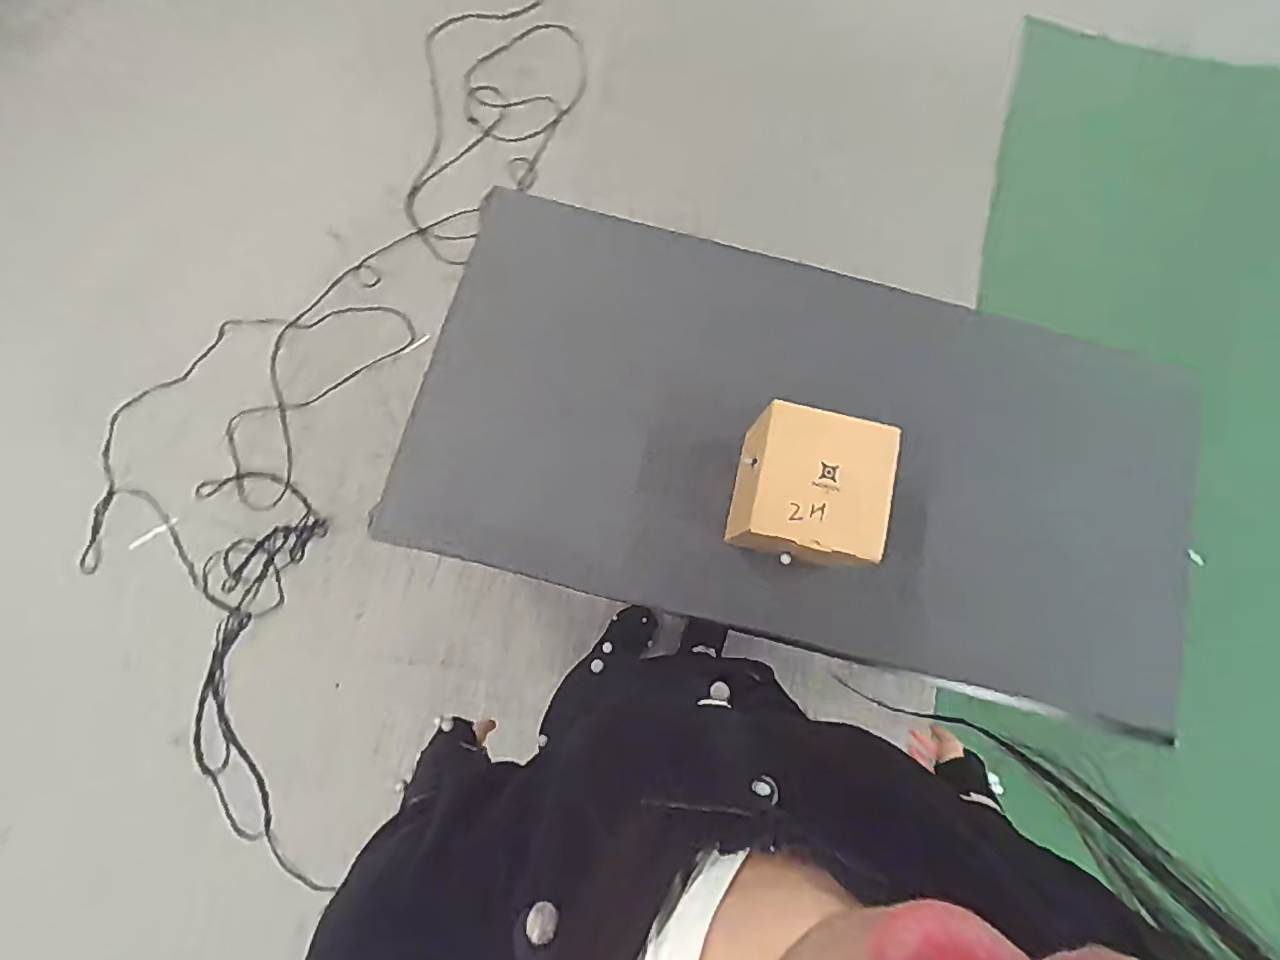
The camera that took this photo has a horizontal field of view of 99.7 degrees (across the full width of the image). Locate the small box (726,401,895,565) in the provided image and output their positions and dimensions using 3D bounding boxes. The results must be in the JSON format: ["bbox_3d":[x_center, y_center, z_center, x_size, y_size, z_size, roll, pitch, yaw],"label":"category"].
[{"bbox_3d":[0.225,0.014,0.750,0.168,0.176,0.179,13,79,1],"label":"small box"}]
